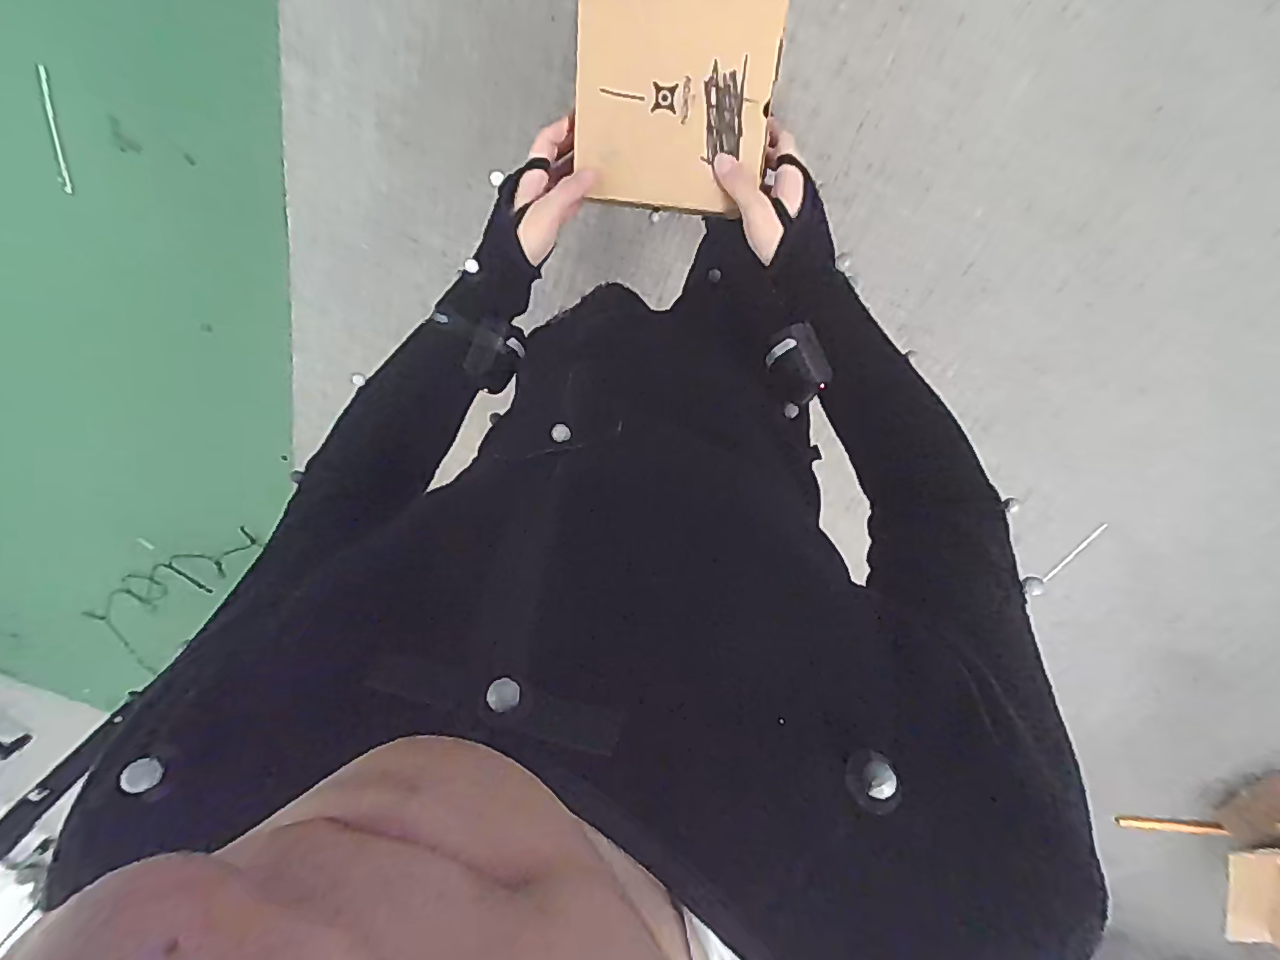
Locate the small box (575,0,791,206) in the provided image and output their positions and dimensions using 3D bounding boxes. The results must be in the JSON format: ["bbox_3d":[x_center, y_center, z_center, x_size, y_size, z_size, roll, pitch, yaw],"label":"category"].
[{"bbox_3d":[0.035,-0.377,0.546,0.179,0.176,0.168,5,115,0],"label":"small box"}]
